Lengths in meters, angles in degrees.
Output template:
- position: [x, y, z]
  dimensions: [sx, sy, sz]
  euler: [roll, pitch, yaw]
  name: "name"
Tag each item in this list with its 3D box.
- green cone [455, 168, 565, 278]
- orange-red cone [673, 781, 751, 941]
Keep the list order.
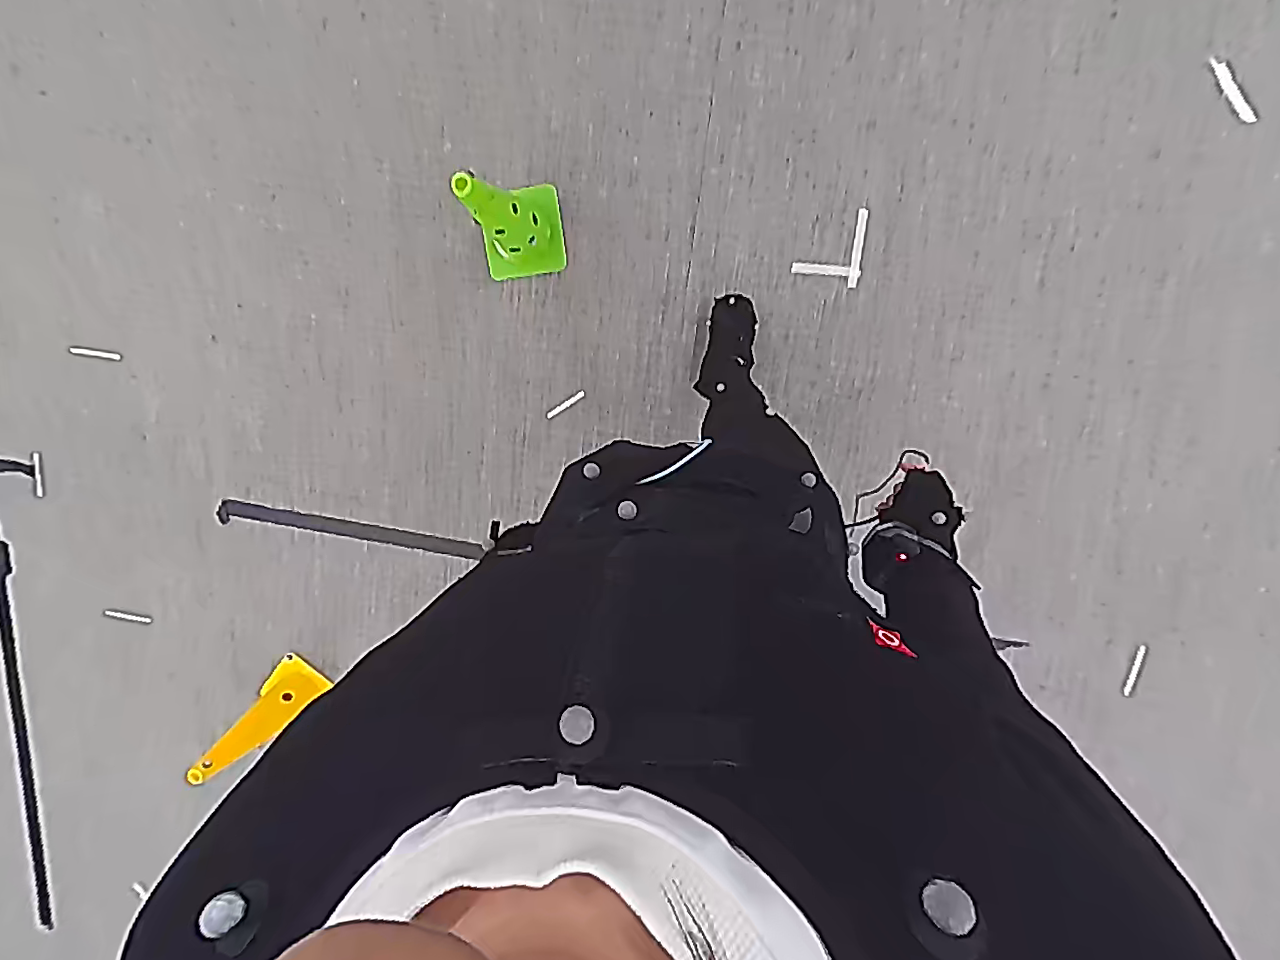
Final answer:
- position: [-0.307, -0.576, 1.159]
  dimensions: [0.202, 0.368, 0.200]
  euler: [-7, 101, 7]
  name: "green cone"
- position: [0.188, 1.018, 1.416]
  dimensions: [0.199, 0.360, 0.198]
  euler: [16, 102, 4]
  name: "orange-red cone"
